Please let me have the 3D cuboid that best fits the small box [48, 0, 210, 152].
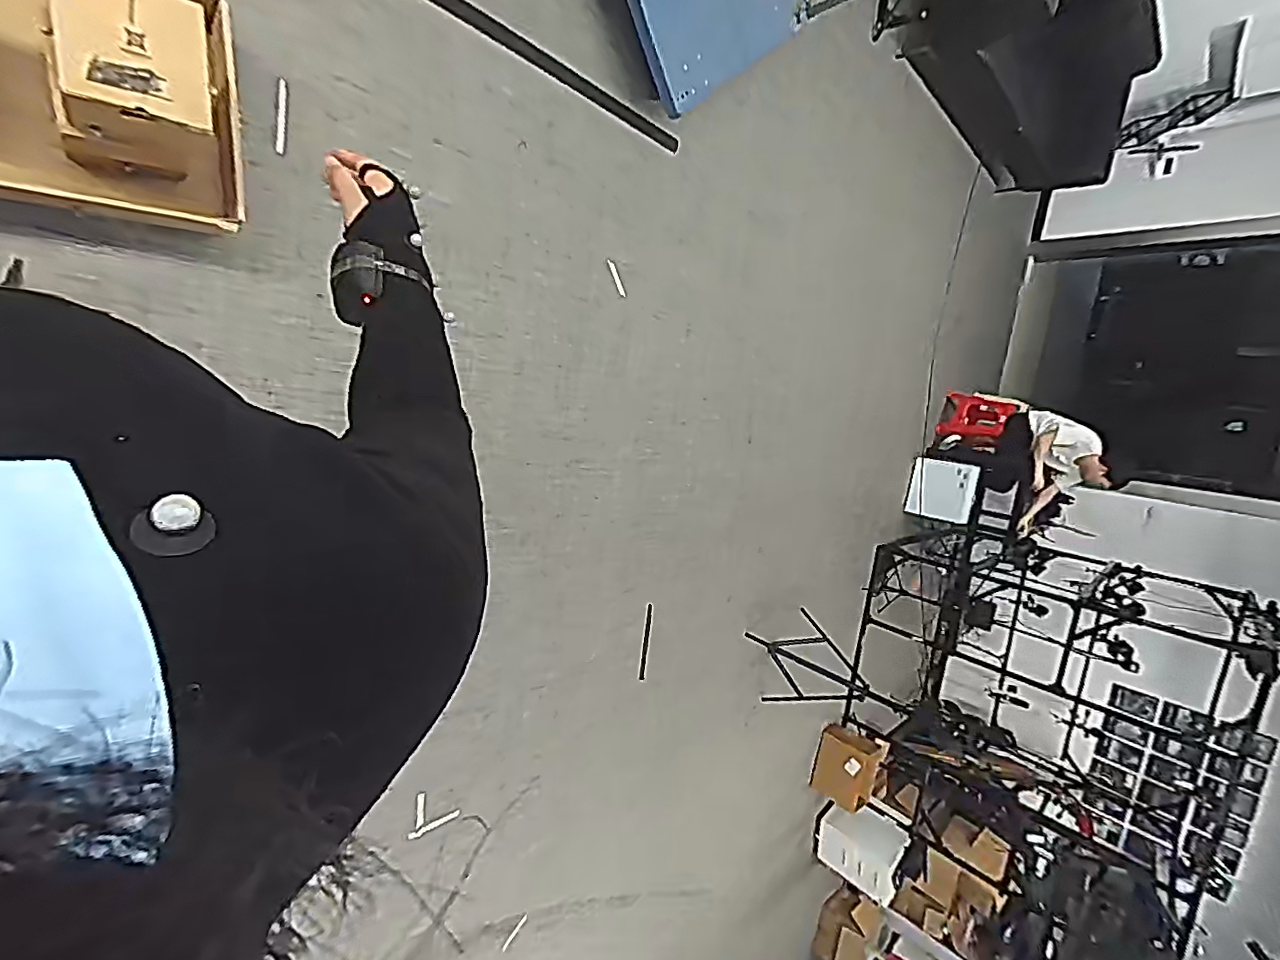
[{"bbox_3d":[-0.769,-0.630,0.820,0.168,0.176,0.179,-6,105,-43],"label":"small box"}]
